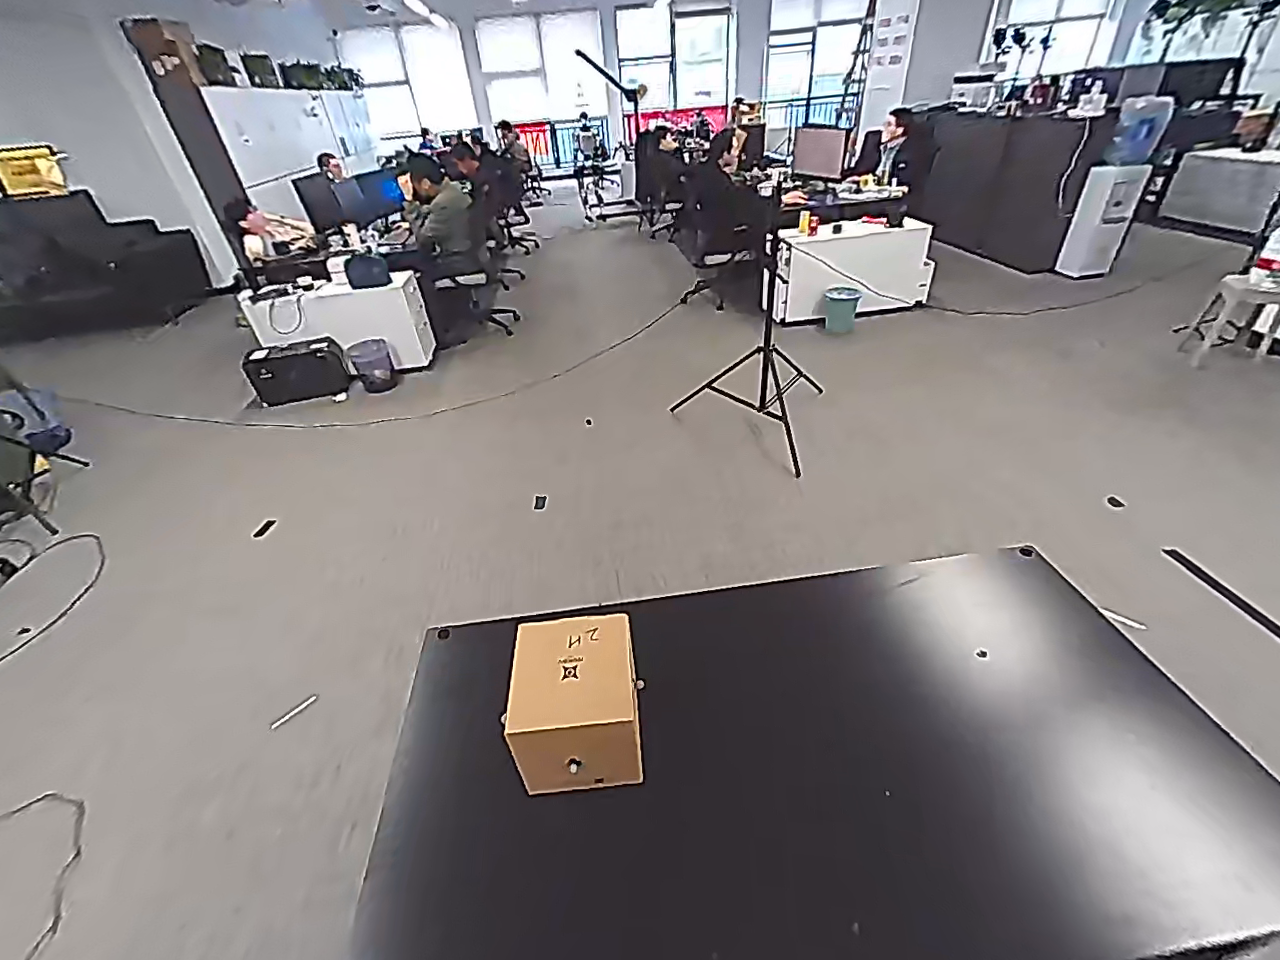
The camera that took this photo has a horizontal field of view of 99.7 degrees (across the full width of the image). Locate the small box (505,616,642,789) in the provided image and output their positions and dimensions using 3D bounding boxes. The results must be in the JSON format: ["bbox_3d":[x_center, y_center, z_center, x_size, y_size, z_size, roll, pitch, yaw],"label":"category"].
[{"bbox_3d":[-0.089,0.329,0.794,0.168,0.176,0.179,-6,35,-1],"label":"small box"}]
